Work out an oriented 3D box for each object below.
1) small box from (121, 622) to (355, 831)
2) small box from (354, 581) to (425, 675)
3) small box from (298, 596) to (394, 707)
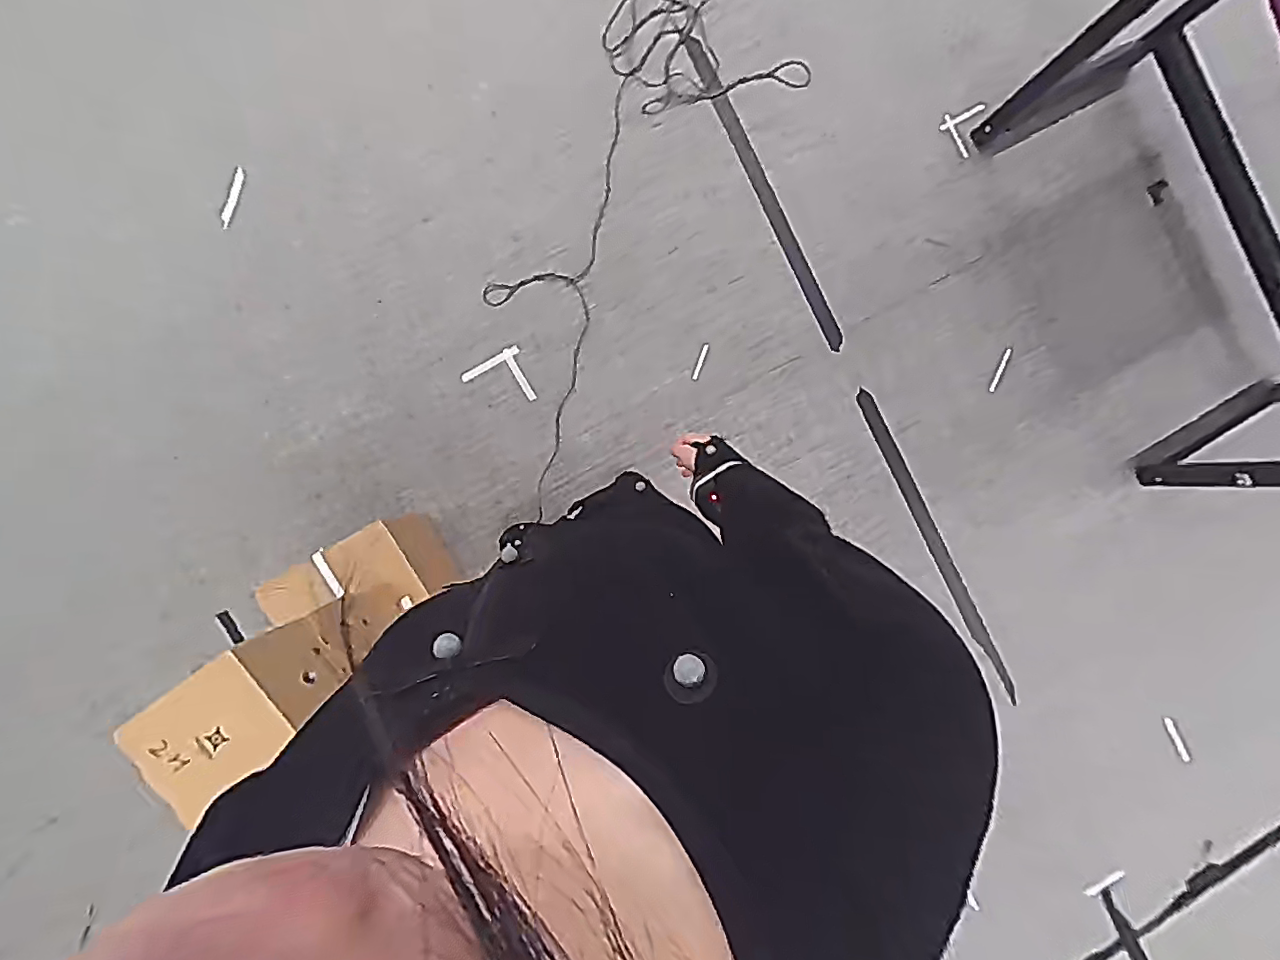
[{"bbox_3d":[-0.537,0.327,0.760,0.179,0.176,0.168,-37,92,-4],"label":"small box"},{"bbox_3d":[-0.568,0.327,1.086,0.179,0.176,0.168,-31,93,-5],"label":"small box"},{"bbox_3d":[-0.551,0.321,0.925,0.179,0.176,0.168,-33,92,-3],"label":"small box"}]
